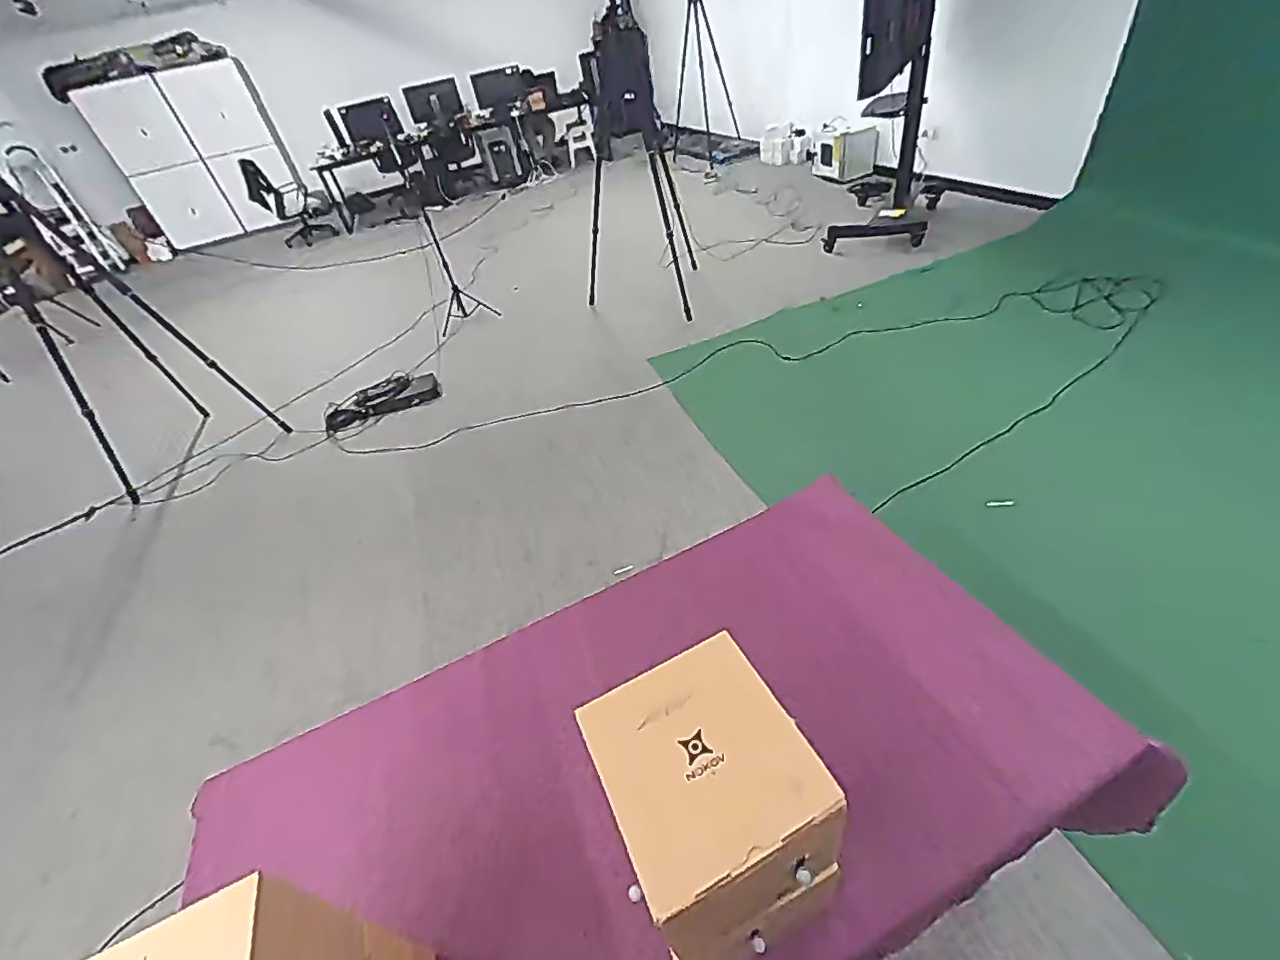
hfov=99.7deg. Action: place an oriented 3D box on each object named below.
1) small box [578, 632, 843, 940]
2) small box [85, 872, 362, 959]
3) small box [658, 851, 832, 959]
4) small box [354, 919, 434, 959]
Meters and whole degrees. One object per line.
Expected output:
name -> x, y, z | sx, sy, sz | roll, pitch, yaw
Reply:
small box -> 0.063, 0.286, 0.505 | 0.168, 0.176, 0.179 | -23, 41, -13
small box -> -0.332, 0.456, 0.415 | 0.168, 0.176, 0.179 | -23, 40, -13
small box -> 0.092, 0.410, 0.608 | 0.179, 0.176, 0.168 | -22, 42, -11
small box -> -0.306, 0.579, 0.520 | 0.179, 0.176, 0.168 | -23, 42, -13
